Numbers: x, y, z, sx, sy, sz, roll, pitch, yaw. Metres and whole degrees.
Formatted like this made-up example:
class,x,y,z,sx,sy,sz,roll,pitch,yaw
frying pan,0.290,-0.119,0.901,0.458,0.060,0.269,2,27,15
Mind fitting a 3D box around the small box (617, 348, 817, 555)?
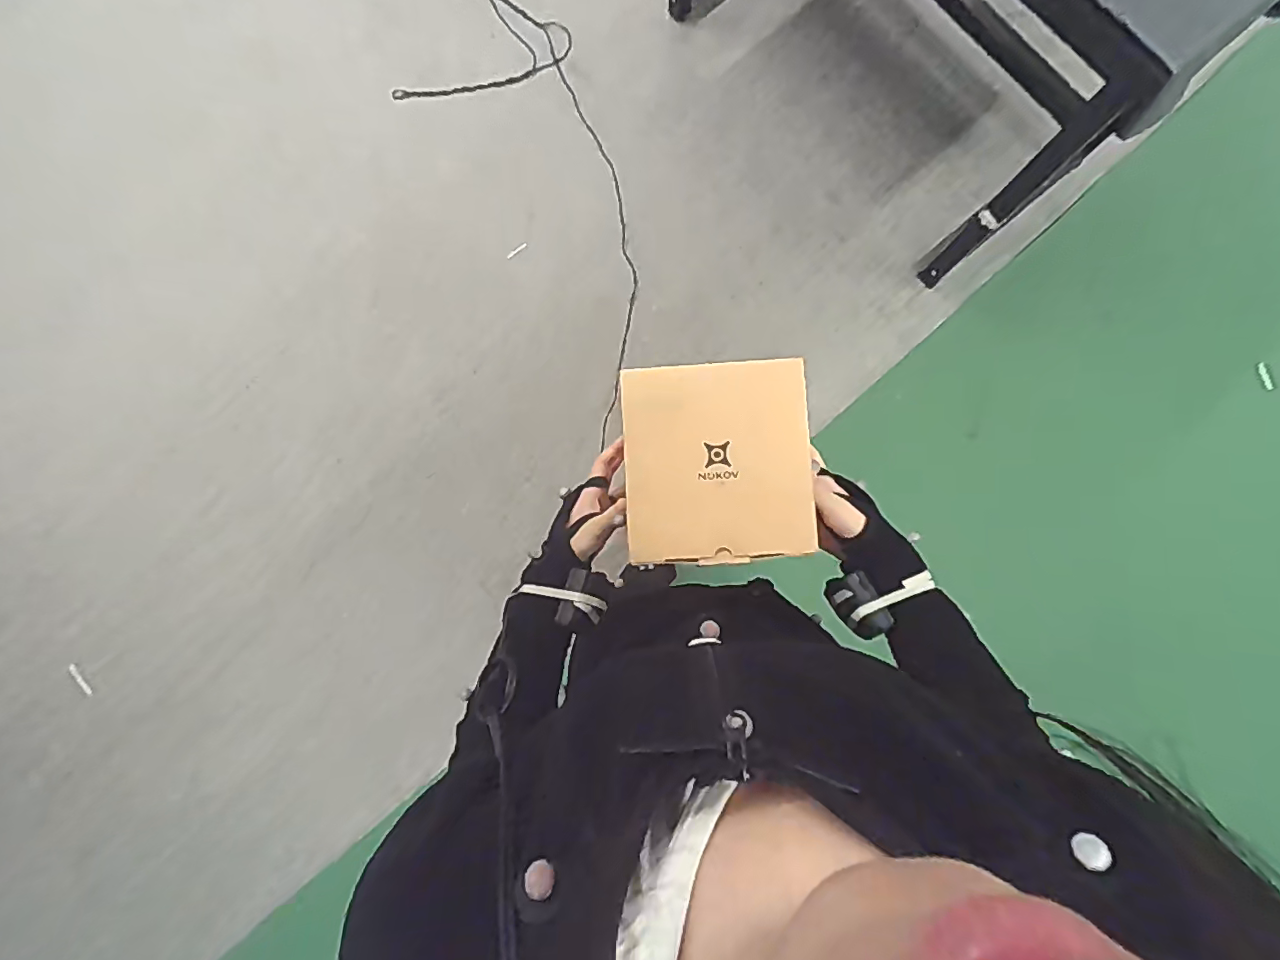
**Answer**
class,x,y,z,sx,sy,sz,roll,pitch,yaw
small box,0.065,-0.018,0.543,0.168,0.176,0.179,-4,85,2
